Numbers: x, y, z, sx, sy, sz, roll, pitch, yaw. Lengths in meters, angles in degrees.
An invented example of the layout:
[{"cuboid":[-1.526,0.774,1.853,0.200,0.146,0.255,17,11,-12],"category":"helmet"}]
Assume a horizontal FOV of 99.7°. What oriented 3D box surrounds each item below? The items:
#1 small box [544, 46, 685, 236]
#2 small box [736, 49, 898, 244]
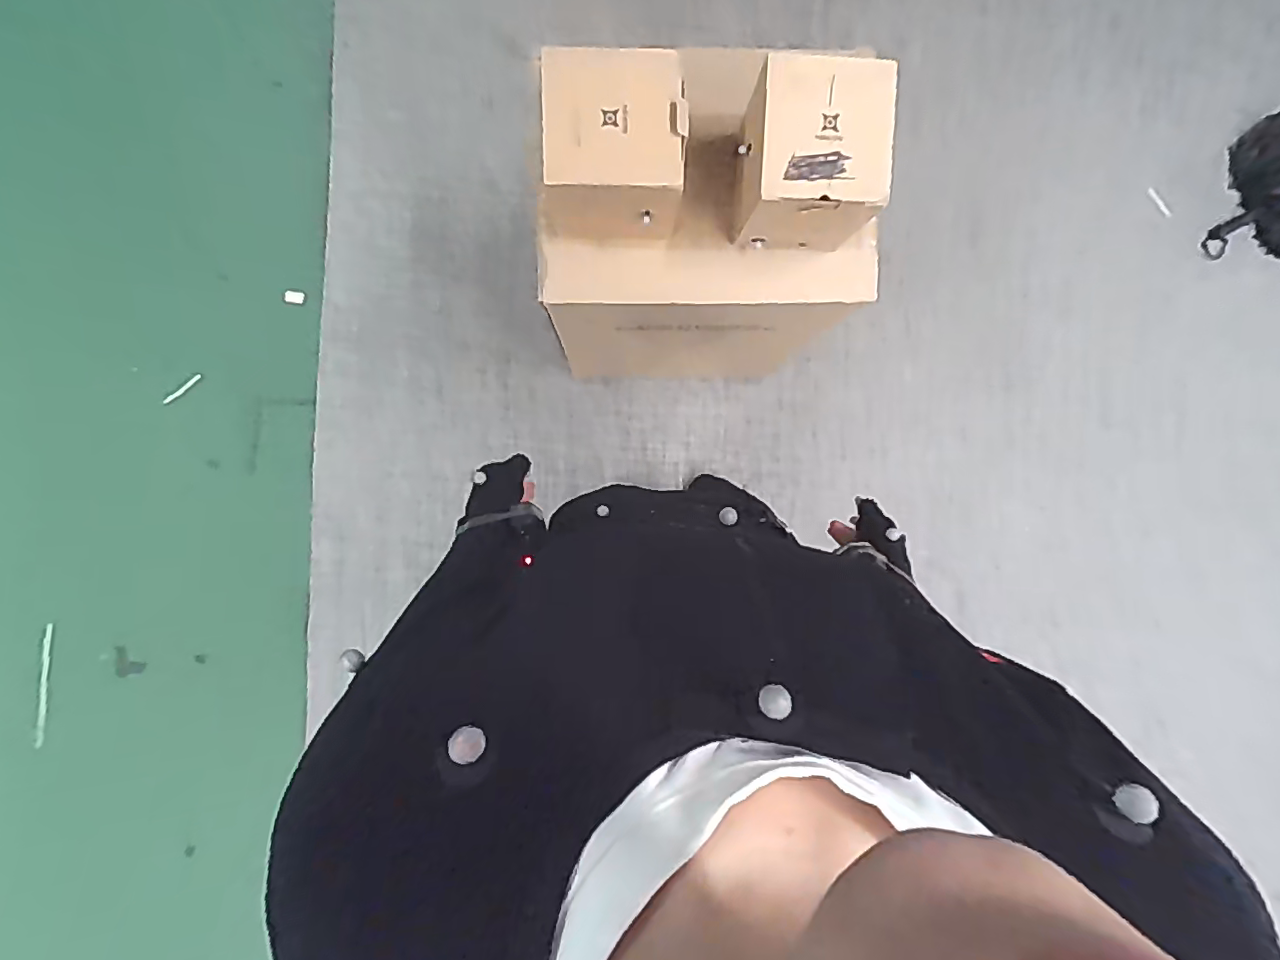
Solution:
[{"cuboid":[-0.033,-0.453,0.748,0.179,0.176,0.168,-1,92,0],"category":"small box"},{"cuboid":[0.232,-0.446,0.752,0.168,0.176,0.179,2,93,-2],"category":"small box"}]
